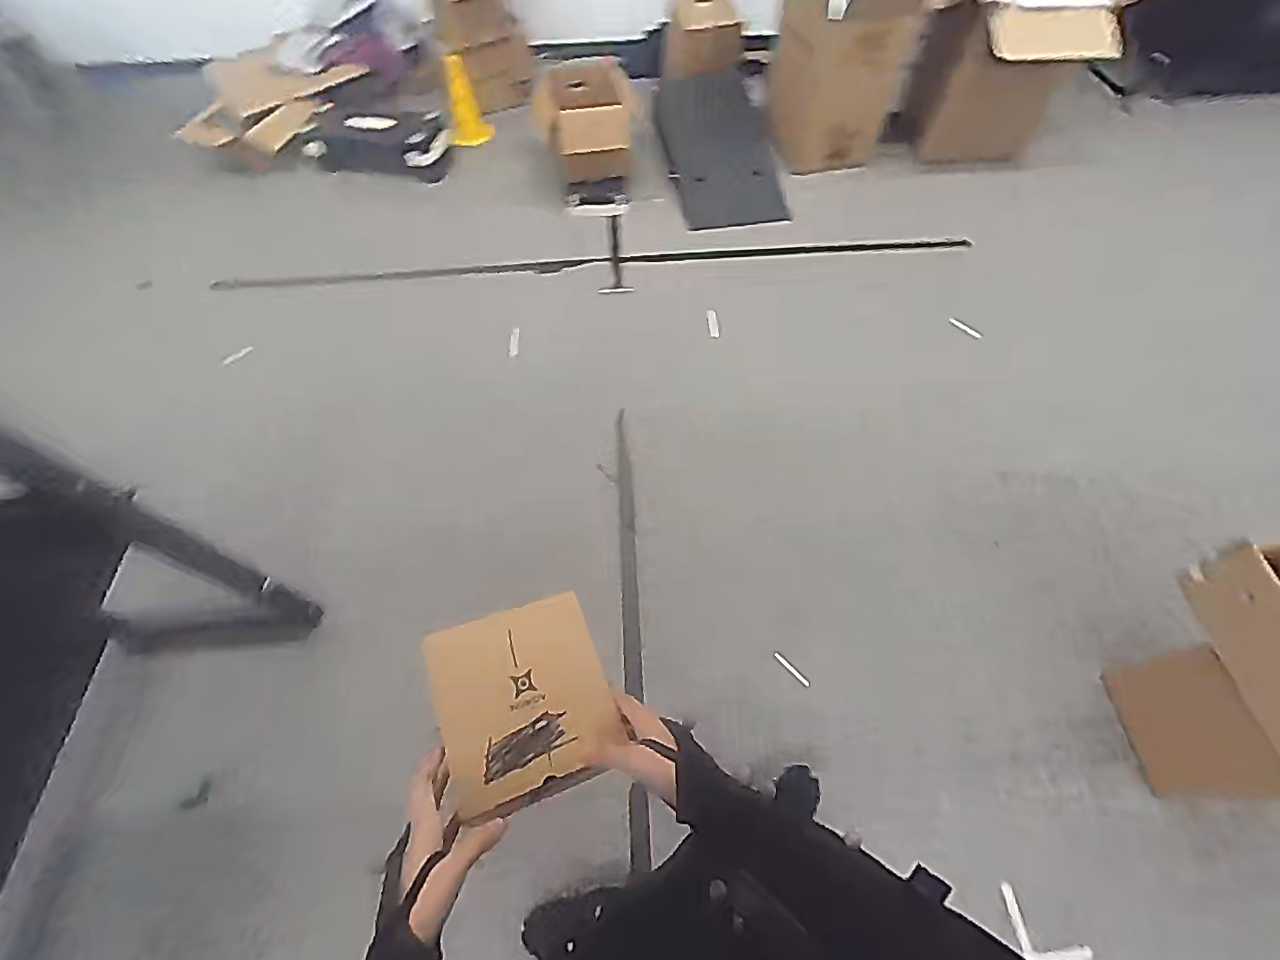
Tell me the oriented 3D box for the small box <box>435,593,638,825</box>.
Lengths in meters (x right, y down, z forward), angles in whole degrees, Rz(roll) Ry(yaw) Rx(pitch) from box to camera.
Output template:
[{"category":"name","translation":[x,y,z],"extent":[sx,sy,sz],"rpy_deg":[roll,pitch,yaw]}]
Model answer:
[{"category":"small box","translation":[-0.119,0.254,0.596],"extent":[0.168,0.176,0.179],"rpy_deg":[-12,59,-22]}]

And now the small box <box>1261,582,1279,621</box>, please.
[{"category":"small box","translation":[1.461,0.260,1.095],"extent":[0.179,0.176,0.168],"rpy_deg":[-5,58,-2]}]
